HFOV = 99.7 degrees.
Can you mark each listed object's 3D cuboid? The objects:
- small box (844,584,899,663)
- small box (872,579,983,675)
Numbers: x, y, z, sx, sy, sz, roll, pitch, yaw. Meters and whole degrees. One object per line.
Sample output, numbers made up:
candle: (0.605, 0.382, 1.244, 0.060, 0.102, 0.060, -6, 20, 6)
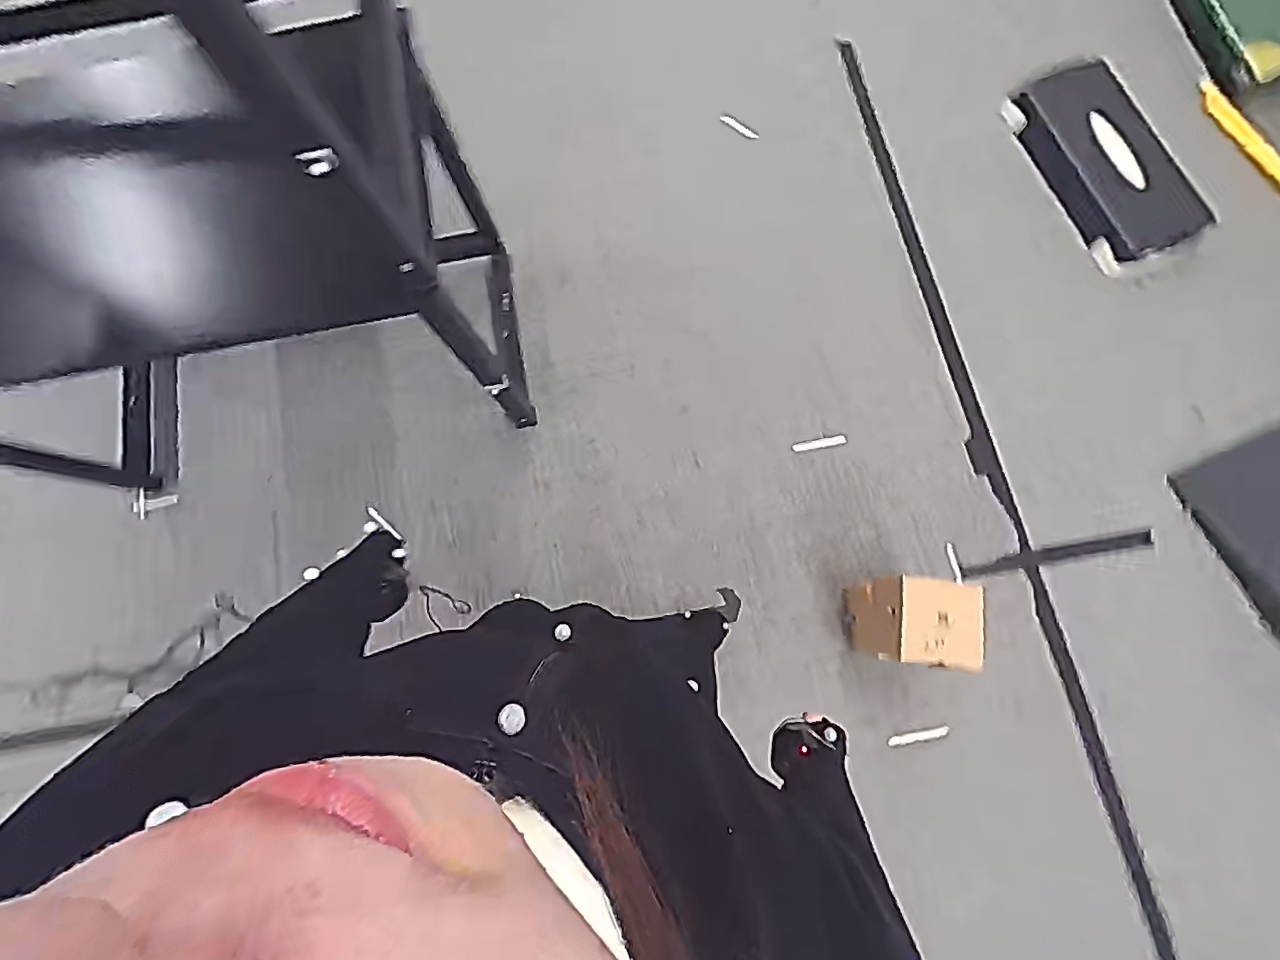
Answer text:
small box: (0.633, 0.353, 1.362, 0.168, 0.176, 0.179, -5, 80, 1)
small box: (0.629, 0.320, 1.200, 0.168, 0.176, 0.179, 7, 79, 4)
